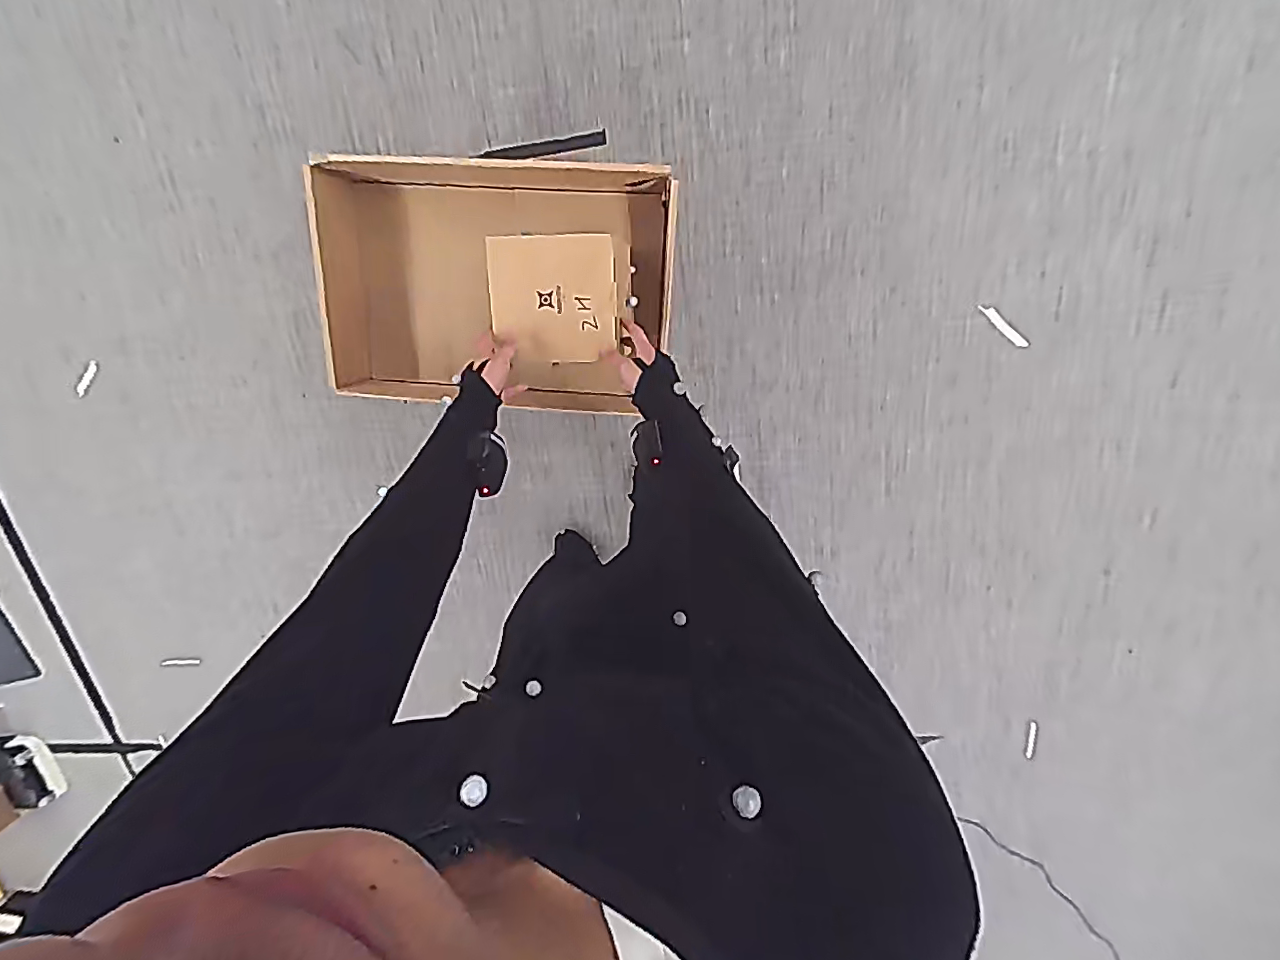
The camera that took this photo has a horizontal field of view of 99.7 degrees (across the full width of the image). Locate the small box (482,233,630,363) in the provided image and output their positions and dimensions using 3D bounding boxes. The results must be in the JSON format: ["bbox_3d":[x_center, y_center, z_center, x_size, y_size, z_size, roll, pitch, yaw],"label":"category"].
[{"bbox_3d":[-0.112,-0.263,0.795,0.179,0.176,0.168,2,108,6],"label":"small box"}]
